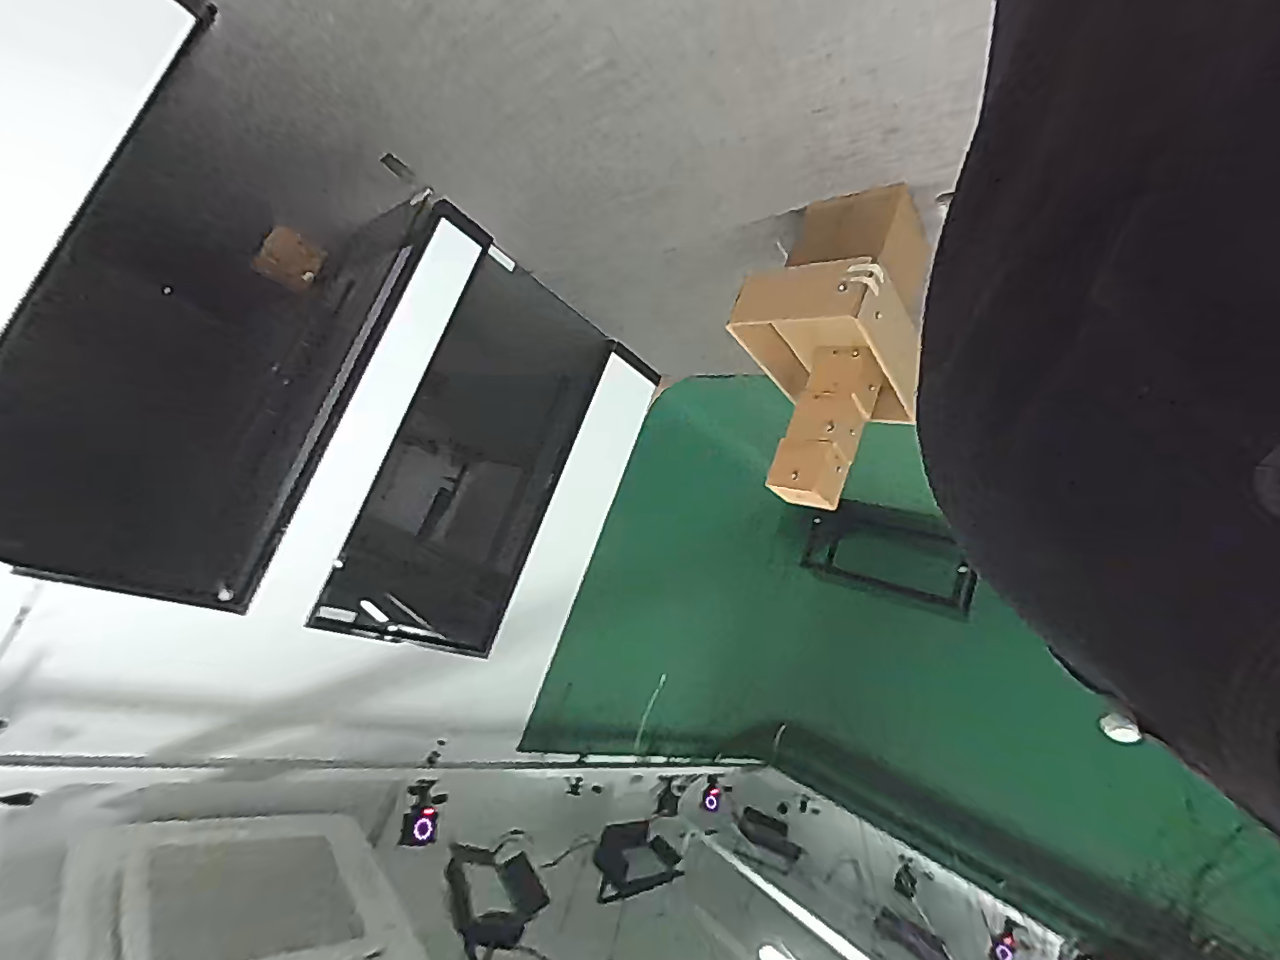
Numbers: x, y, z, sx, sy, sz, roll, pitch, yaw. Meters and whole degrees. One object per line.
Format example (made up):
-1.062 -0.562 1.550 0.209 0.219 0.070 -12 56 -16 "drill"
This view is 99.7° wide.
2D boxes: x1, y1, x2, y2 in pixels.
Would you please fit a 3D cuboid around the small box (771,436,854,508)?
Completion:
0.549 -0.029 1.714 0.179 0.176 0.168 11 166 46 "small box"

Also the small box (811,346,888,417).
0.684 -0.323 1.758 0.168 0.176 0.179 12 166 43 "small box"
